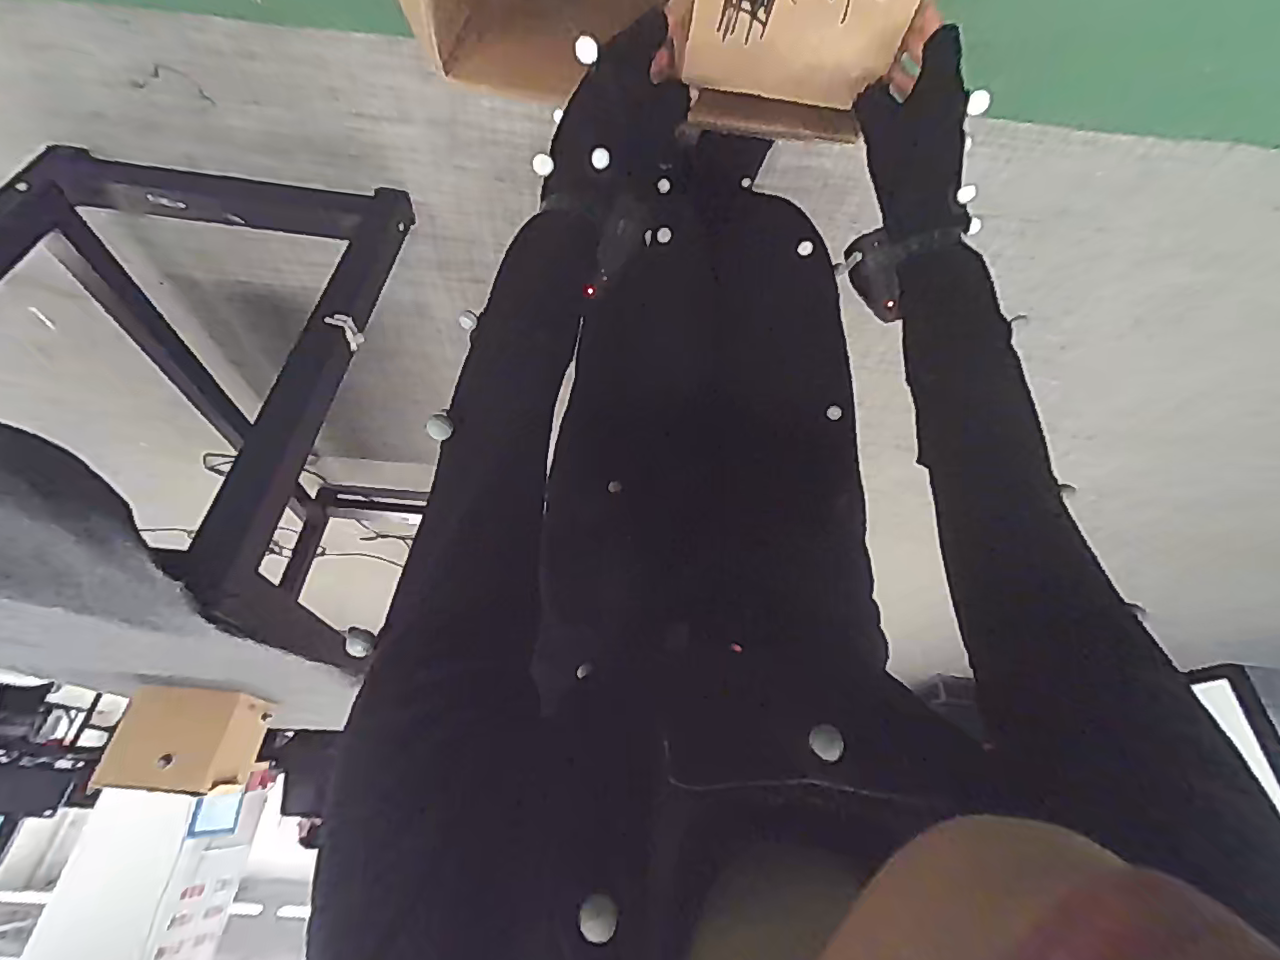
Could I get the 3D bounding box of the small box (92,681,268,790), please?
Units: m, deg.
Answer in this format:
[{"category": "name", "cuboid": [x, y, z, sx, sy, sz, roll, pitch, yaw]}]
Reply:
[{"category": "small box", "cuboid": [-0.841, 0.482, 1.019, 0.179, 0.176, 0.168, 8, 148, -6]}]
